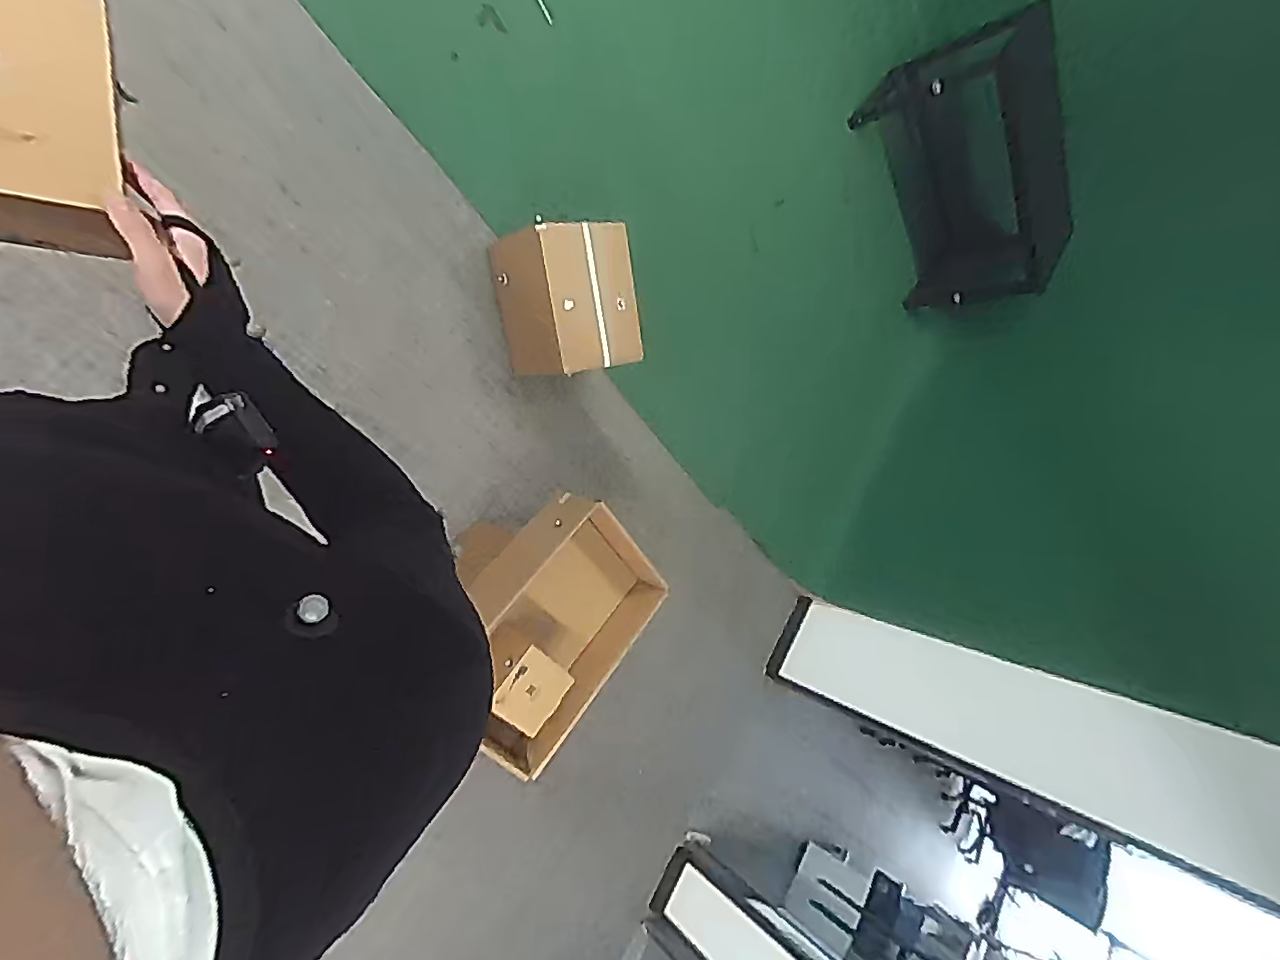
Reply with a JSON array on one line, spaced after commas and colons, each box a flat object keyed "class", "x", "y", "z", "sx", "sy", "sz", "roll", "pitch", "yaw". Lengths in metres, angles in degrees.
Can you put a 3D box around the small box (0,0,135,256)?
[{"class": "small box", "x": -0.538, "y": -0.307, "z": 0.446, "sx": 0.168, "sy": 0.176, "sz": 0.179, "roll": -6, "pitch": 99, "yaw": -41}]
